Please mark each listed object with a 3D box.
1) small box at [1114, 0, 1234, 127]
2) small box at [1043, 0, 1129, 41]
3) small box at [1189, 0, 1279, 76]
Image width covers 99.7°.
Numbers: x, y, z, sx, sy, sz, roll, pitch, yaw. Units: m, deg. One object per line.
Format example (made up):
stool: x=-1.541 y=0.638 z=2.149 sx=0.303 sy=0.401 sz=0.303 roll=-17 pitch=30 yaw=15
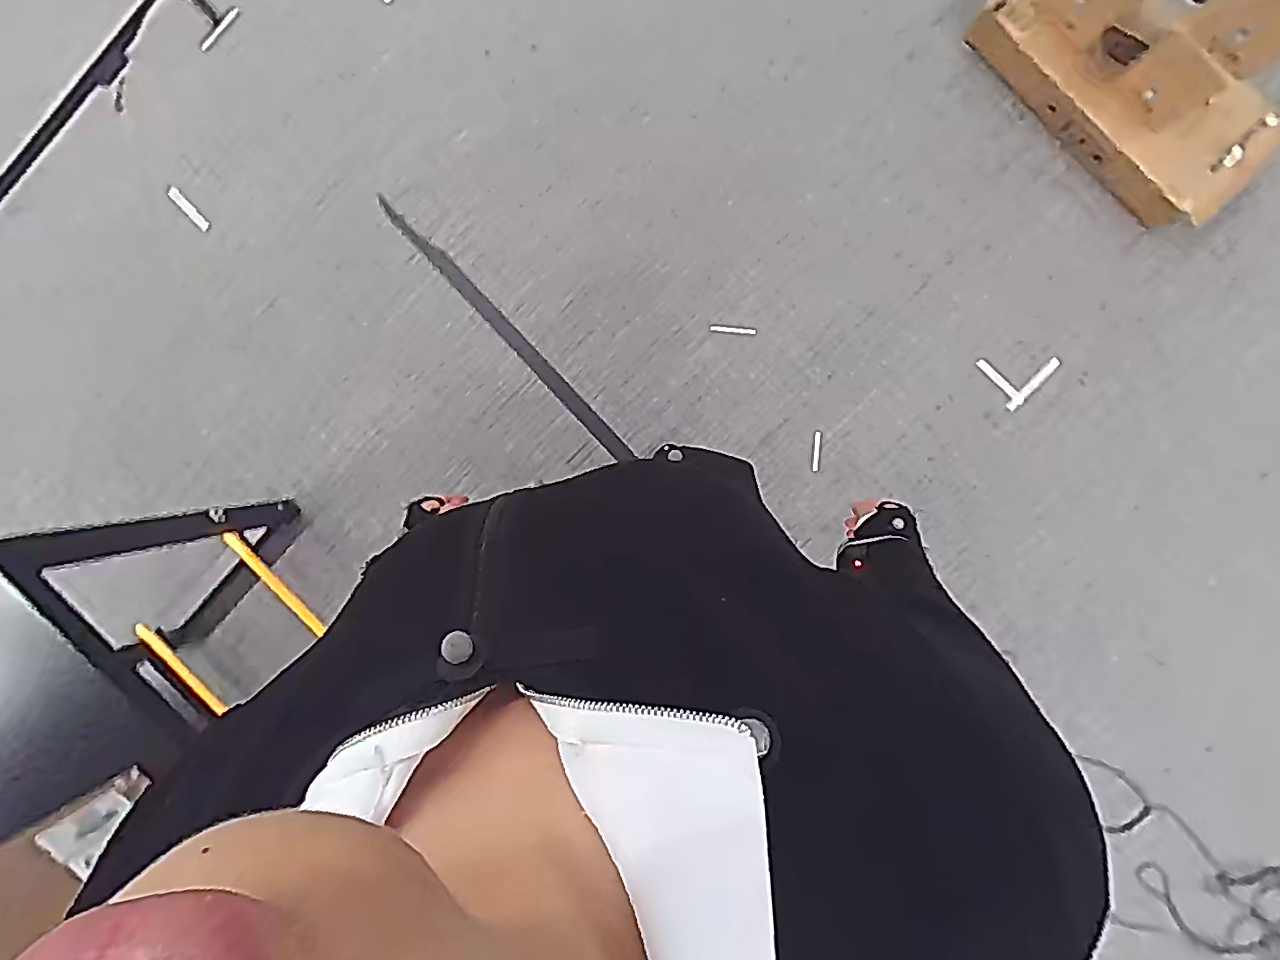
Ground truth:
small box: x=1.223 y=-0.940 z=1.192 sx=0.179 sy=0.176 sz=0.168 roll=-41 pitch=90 yaw=5
small box: x=1.036 y=-1.134 z=1.187 sx=0.179 sy=0.176 sz=0.168 roll=-43 pitch=89 yaw=5
small box: x=1.230 y=-0.938 z=1.026 sx=0.168 sy=0.176 sz=0.179 roll=45 pitch=94 yaw=0
